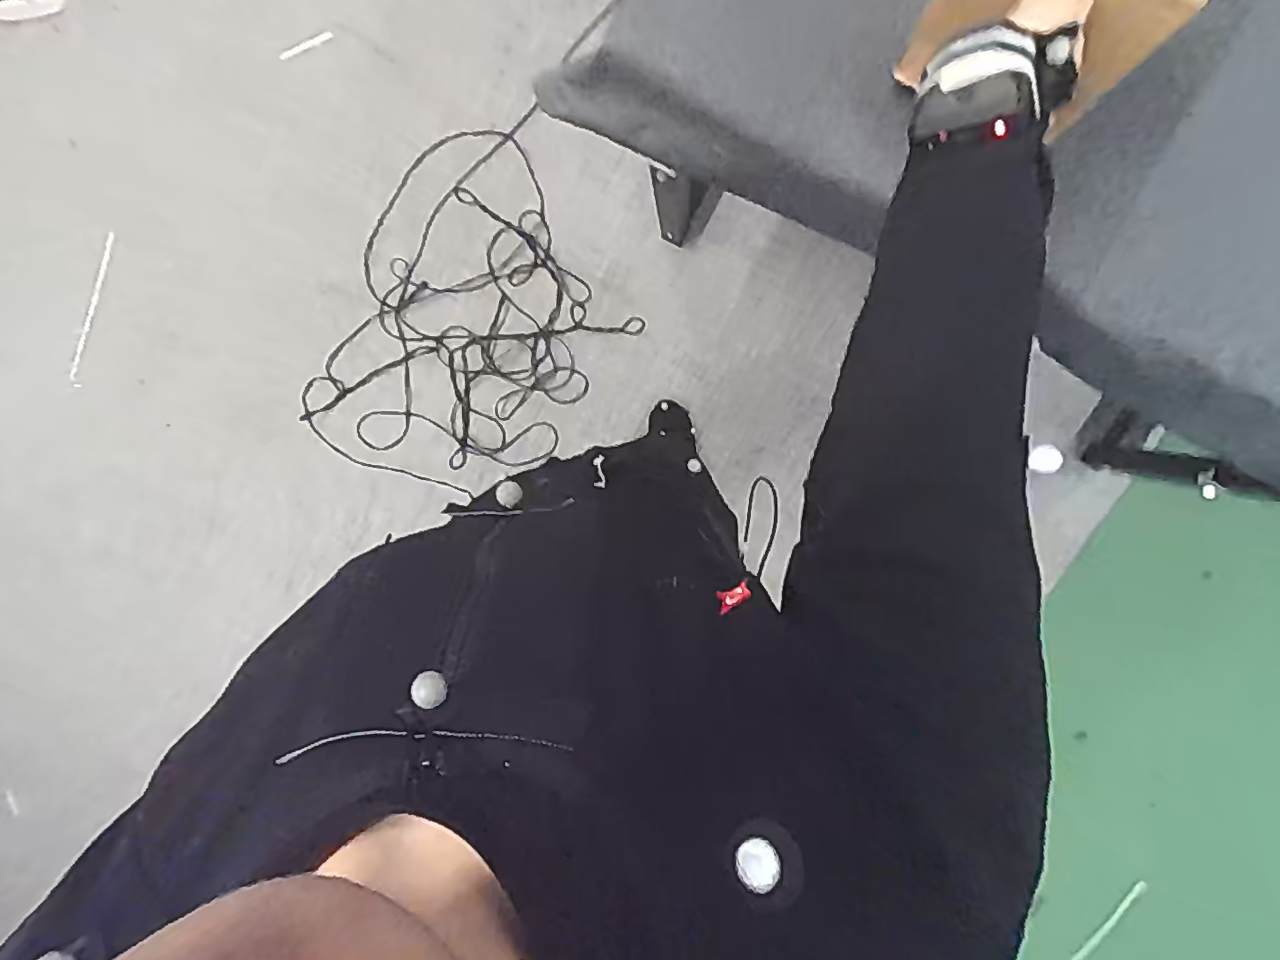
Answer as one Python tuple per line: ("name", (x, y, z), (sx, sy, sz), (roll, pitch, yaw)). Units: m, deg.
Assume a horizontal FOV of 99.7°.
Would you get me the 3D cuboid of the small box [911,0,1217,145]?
("small box", (0.365, -0.436, 0.451), (0.168, 0.176, 0.179), (28, 94, 3))
